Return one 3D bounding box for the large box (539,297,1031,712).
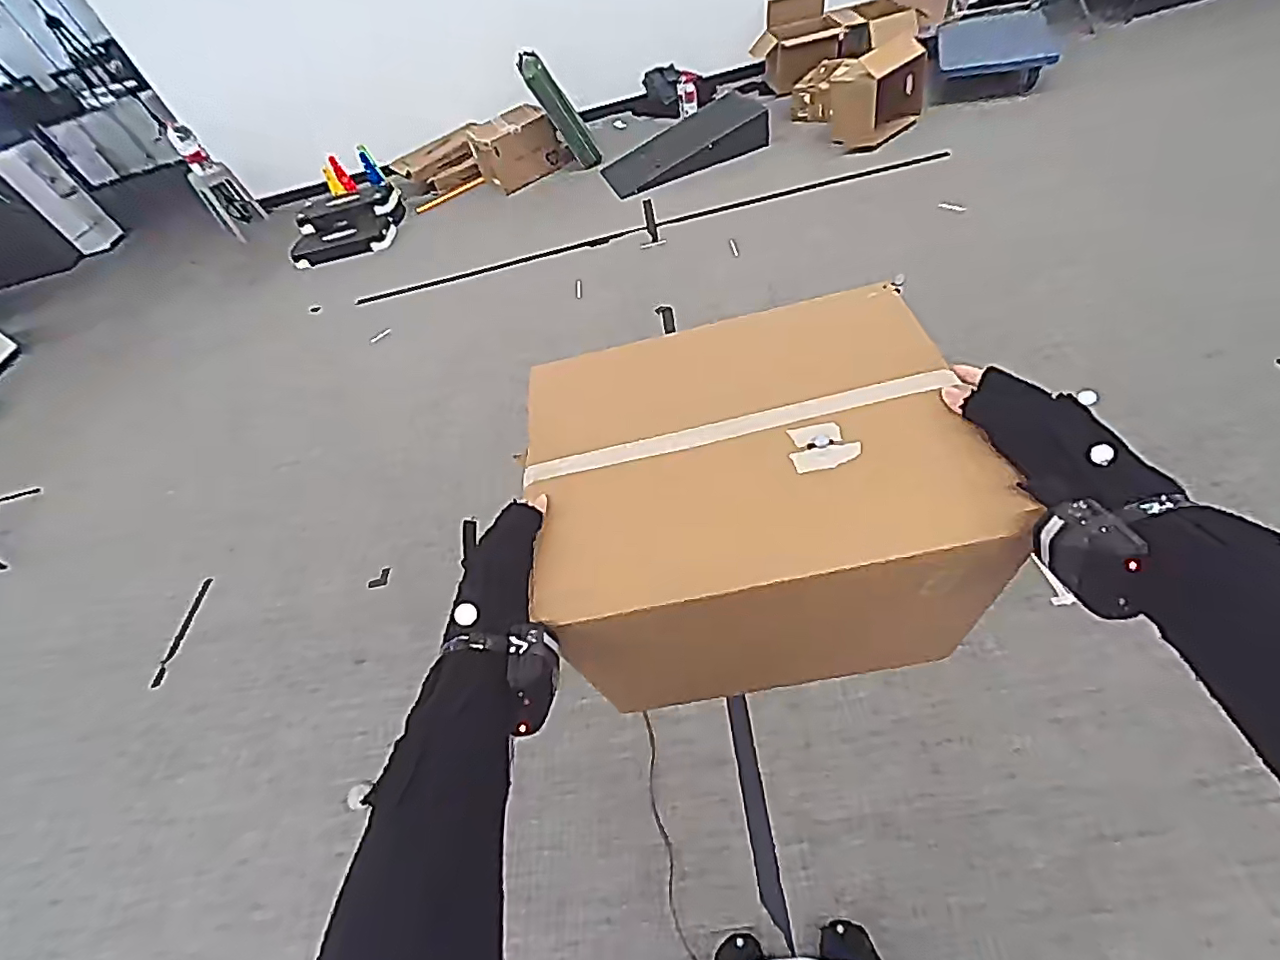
[{"bbox_3d":[0.121,0.046,0.639,0.408,0.320,0.320,-12,54,5],"label":"large box"}]
